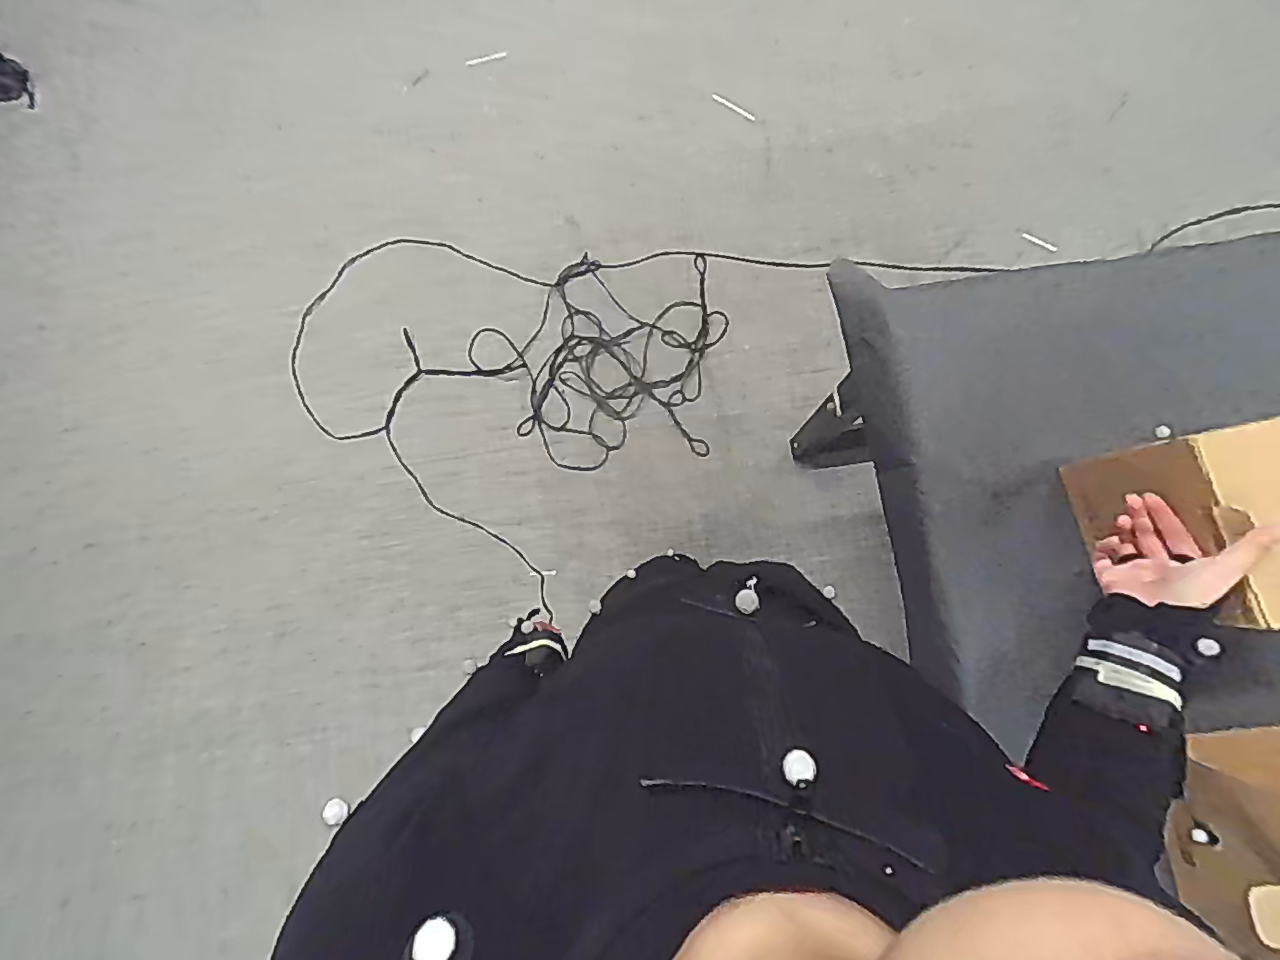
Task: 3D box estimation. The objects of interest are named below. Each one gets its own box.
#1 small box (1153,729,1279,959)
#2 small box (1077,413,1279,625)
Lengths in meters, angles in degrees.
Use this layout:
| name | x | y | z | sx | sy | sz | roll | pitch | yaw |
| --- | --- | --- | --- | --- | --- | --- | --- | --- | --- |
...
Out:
| name | x | y | z | sx | sy | sz | roll | pitch | yaw |
| --- | --- | --- | --- | --- | --- | --- | --- | --- | --- |
| small box | 0.623 | 0.332 | 0.473 | 0.179 | 0.176 | 0.168 | -9 | 82 | 4 |
| small box | 0.572 | 0.031 | 0.519 | 0.179 | 0.176 | 0.168 | -14 | 83 | 2 |
